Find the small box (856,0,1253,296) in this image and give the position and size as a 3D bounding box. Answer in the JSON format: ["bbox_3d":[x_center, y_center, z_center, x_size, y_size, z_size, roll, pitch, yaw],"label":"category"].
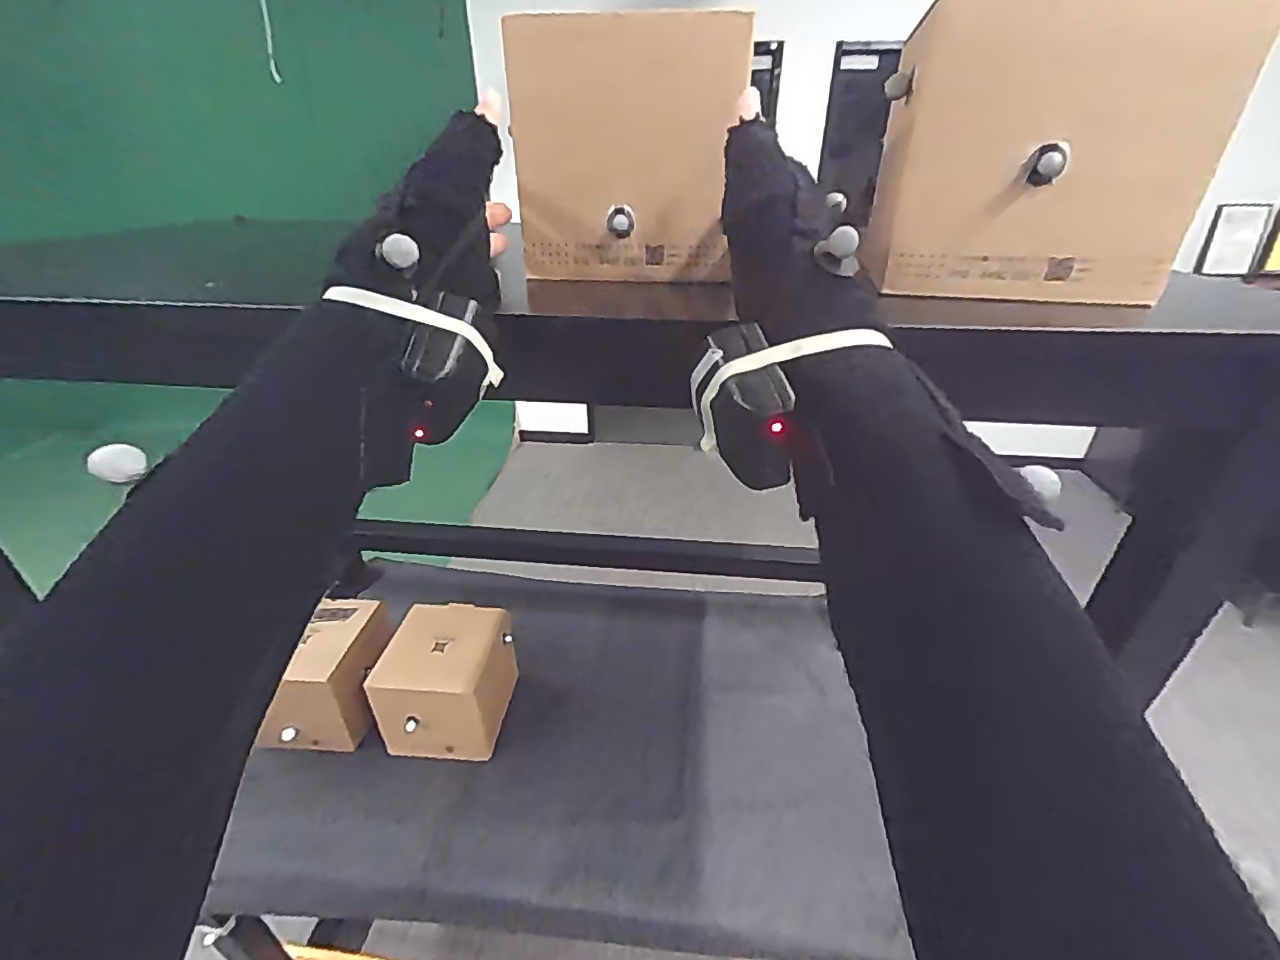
[{"bbox_3d":[0.260,-0.235,0.390,0.168,0.176,0.179,8,30,14],"label":"small box"}]

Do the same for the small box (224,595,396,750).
[{"bbox_3d":[-0.530,0.317,0.904,0.168,0.176,0.179,2,30,3],"label":"small box"}]
